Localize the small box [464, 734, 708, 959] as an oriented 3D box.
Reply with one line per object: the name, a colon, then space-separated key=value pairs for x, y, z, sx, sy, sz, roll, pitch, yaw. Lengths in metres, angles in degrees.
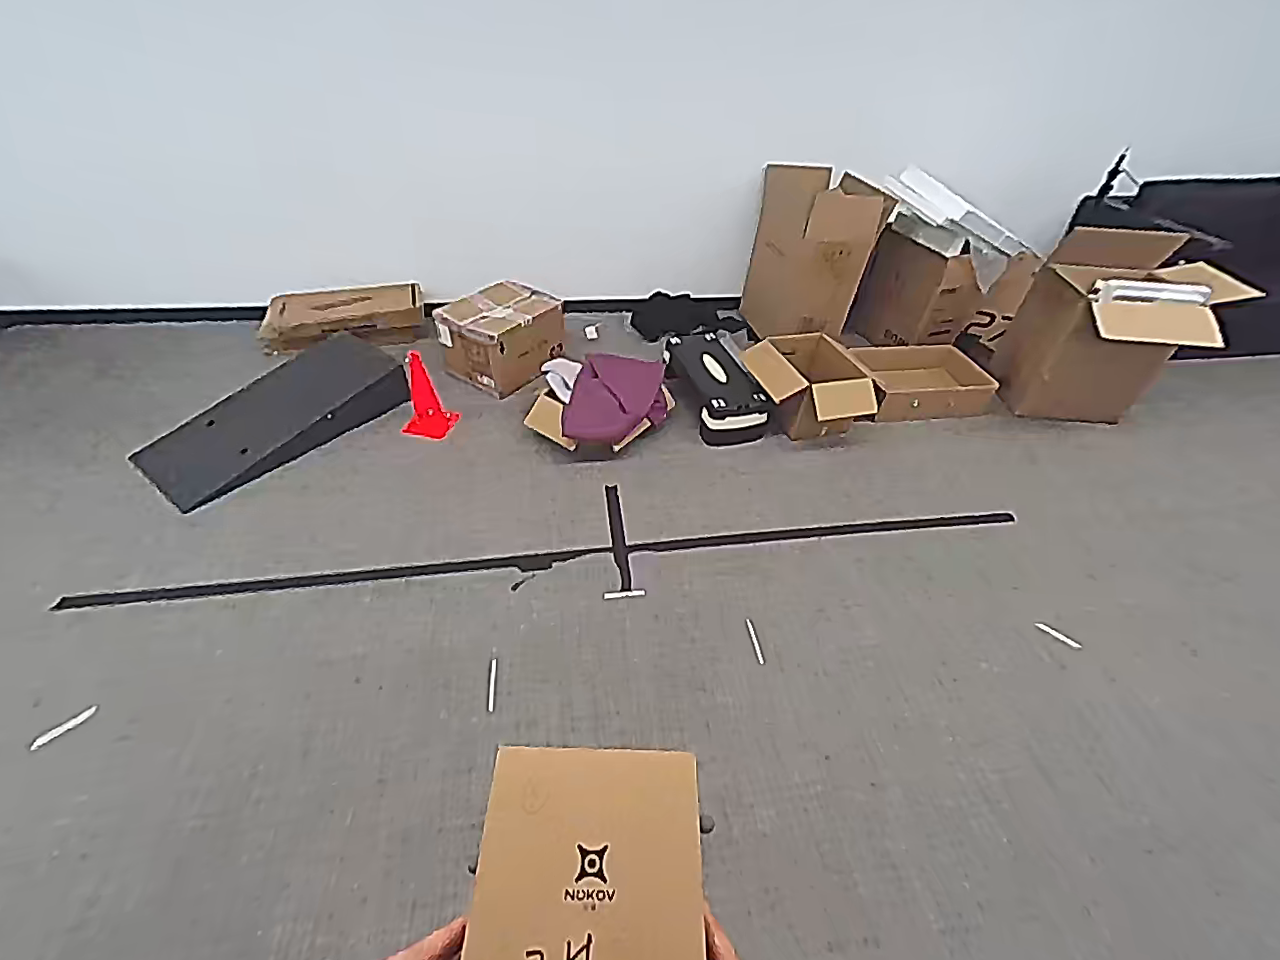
small box: x=-0.038 y=0.336 z=0.455 sx=0.168 sy=0.176 sz=0.179 roll=2 pitch=47 yaw=-1
